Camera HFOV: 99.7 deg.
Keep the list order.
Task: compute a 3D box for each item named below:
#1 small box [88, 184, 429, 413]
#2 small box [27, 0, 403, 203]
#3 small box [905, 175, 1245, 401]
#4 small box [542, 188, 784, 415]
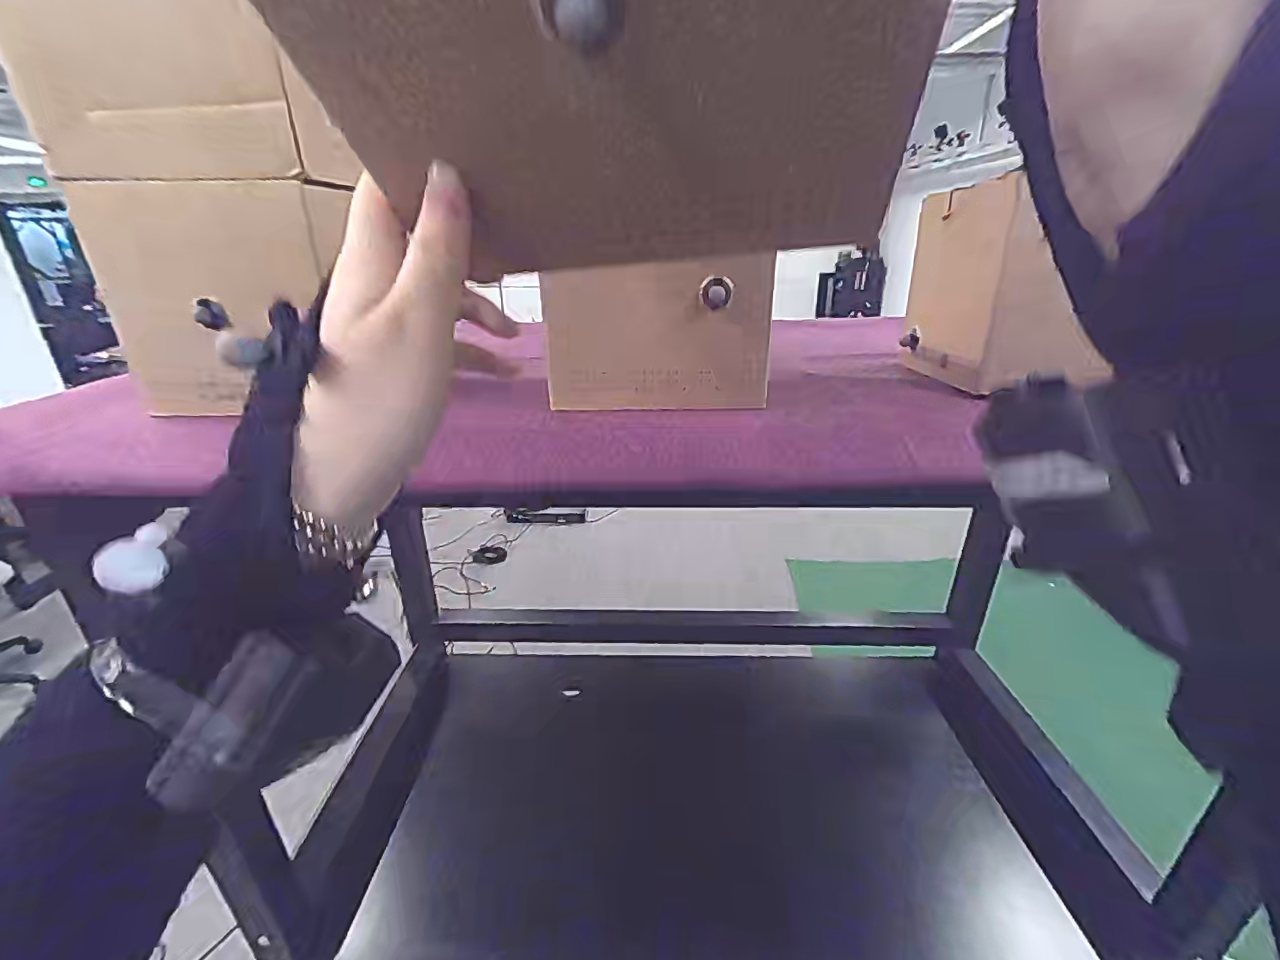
[{"bbox_3d":[-0.304,-0.161,0.483,0.168,0.176,0.179,1,23,0],"label":"small box"},{"bbox_3d":[-0.309,-0.310,0.418,0.179,0.176,0.168,0,24,-2],"label":"small box"},{"bbox_3d":[0.366,-0.169,0.501,0.179,0.176,0.168,1,21,2],"label":"small box"},{"bbox_3d":[0.017,-0.159,0.487,0.179,0.176,0.168,-1,22,0],"label":"small box"}]
